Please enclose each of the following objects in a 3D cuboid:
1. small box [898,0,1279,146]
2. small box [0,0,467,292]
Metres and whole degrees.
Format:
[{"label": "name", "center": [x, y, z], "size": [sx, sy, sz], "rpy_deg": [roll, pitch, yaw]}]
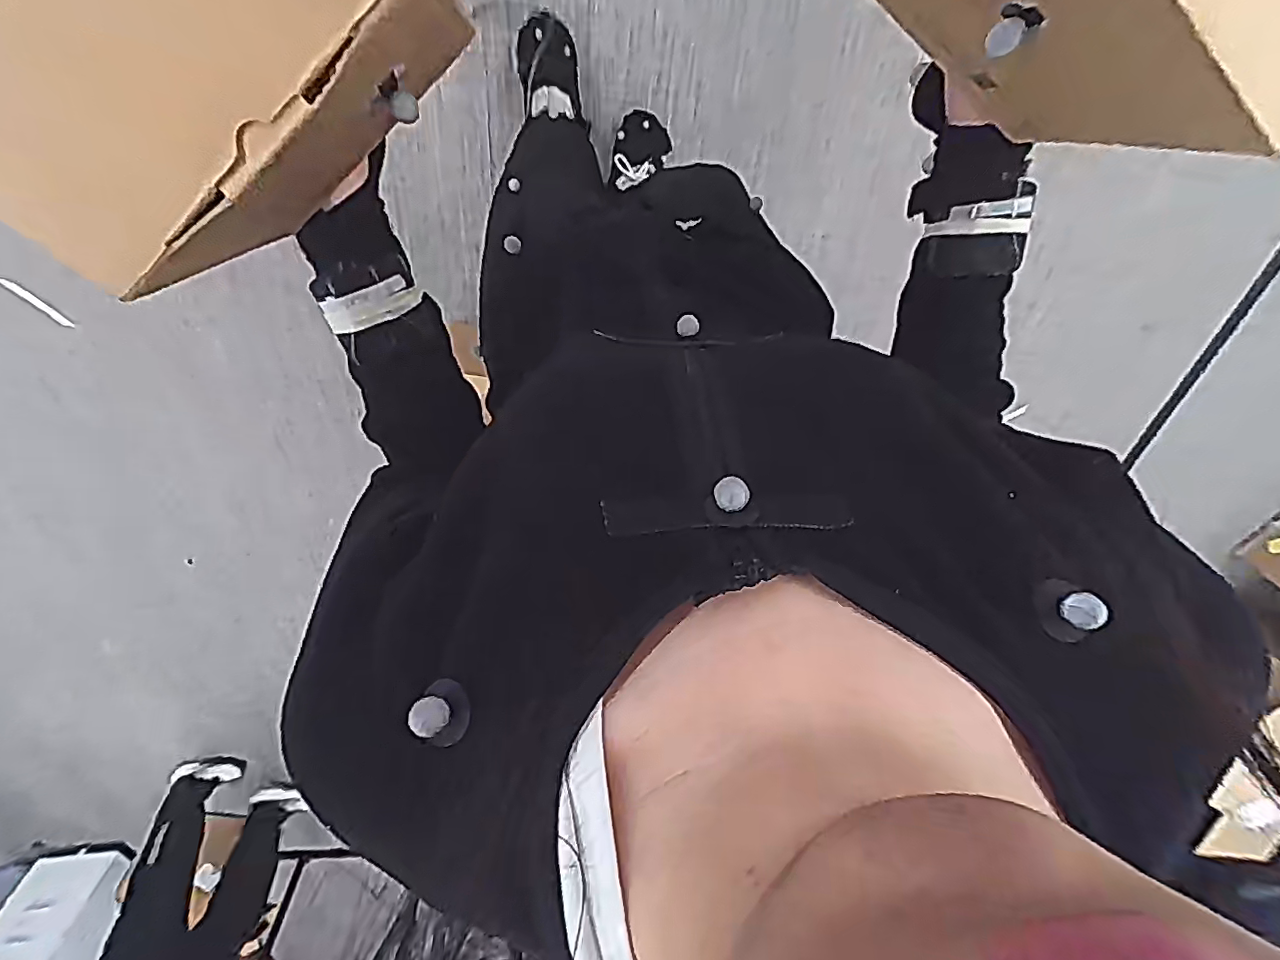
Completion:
[{"label": "small box", "center": [0.238, -0.279, 0.232], "size": [0.168, 0.176, 0.179], "rpy_deg": [23, 116, -23]}, {"label": "small box", "center": [-0.189, -0.210, 0.206], "size": [0.168, 0.176, 0.179], "rpy_deg": [-38, 121, 13]}]
